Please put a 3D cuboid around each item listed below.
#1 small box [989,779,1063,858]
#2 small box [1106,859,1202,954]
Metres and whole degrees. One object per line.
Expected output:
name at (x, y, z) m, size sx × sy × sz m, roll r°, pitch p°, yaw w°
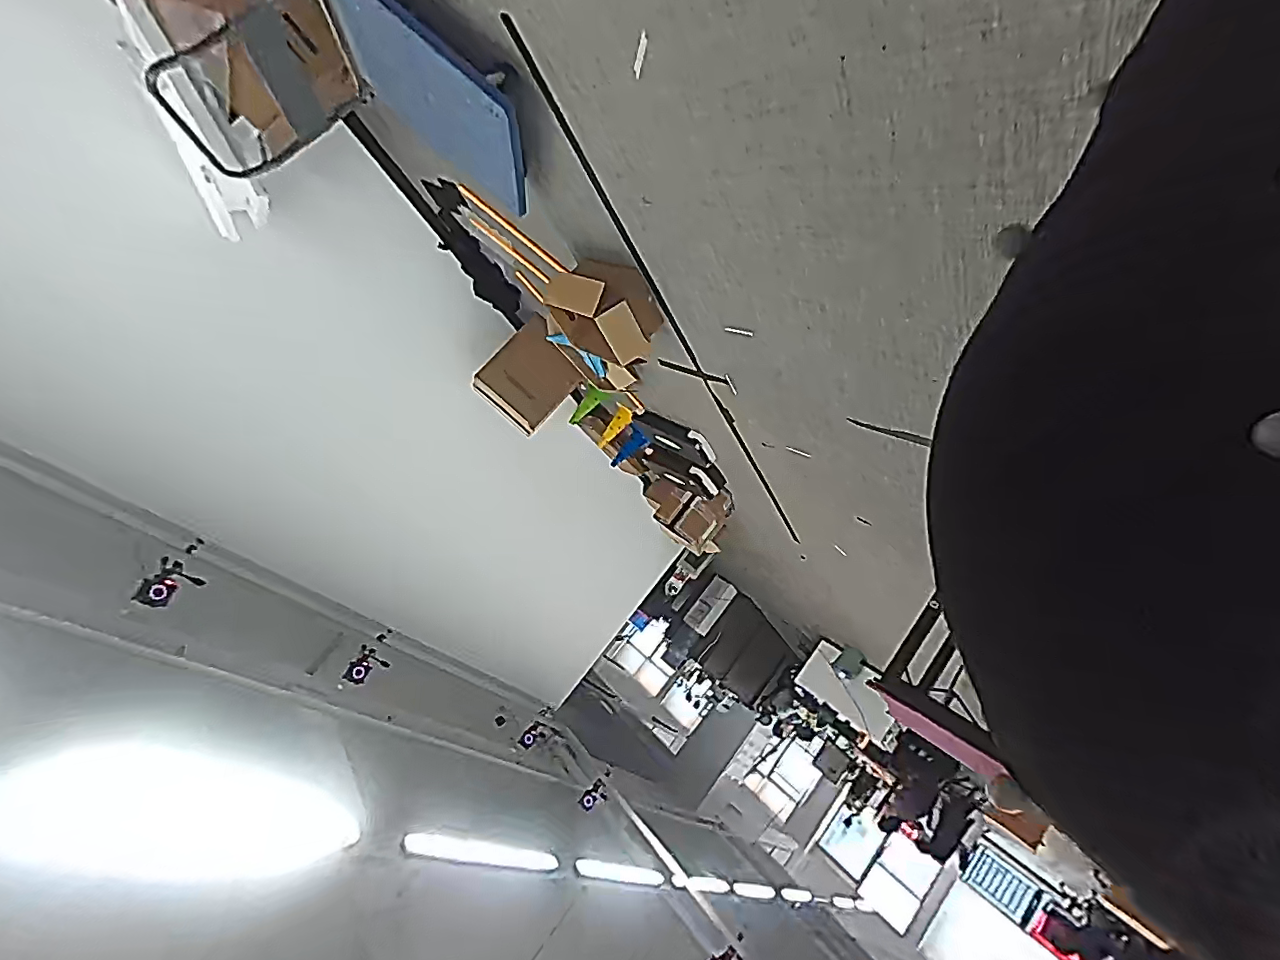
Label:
small box at (1.397, 1.223, 1.956) m, size 0.168 × 0.176 × 0.179 m, roll 28°, pitch 163°, yaw 46°
small box at (1.610, 1.337, 1.698) m, size 0.168 × 0.176 × 0.179 m, roll 29°, pitch 164°, yaw 48°
